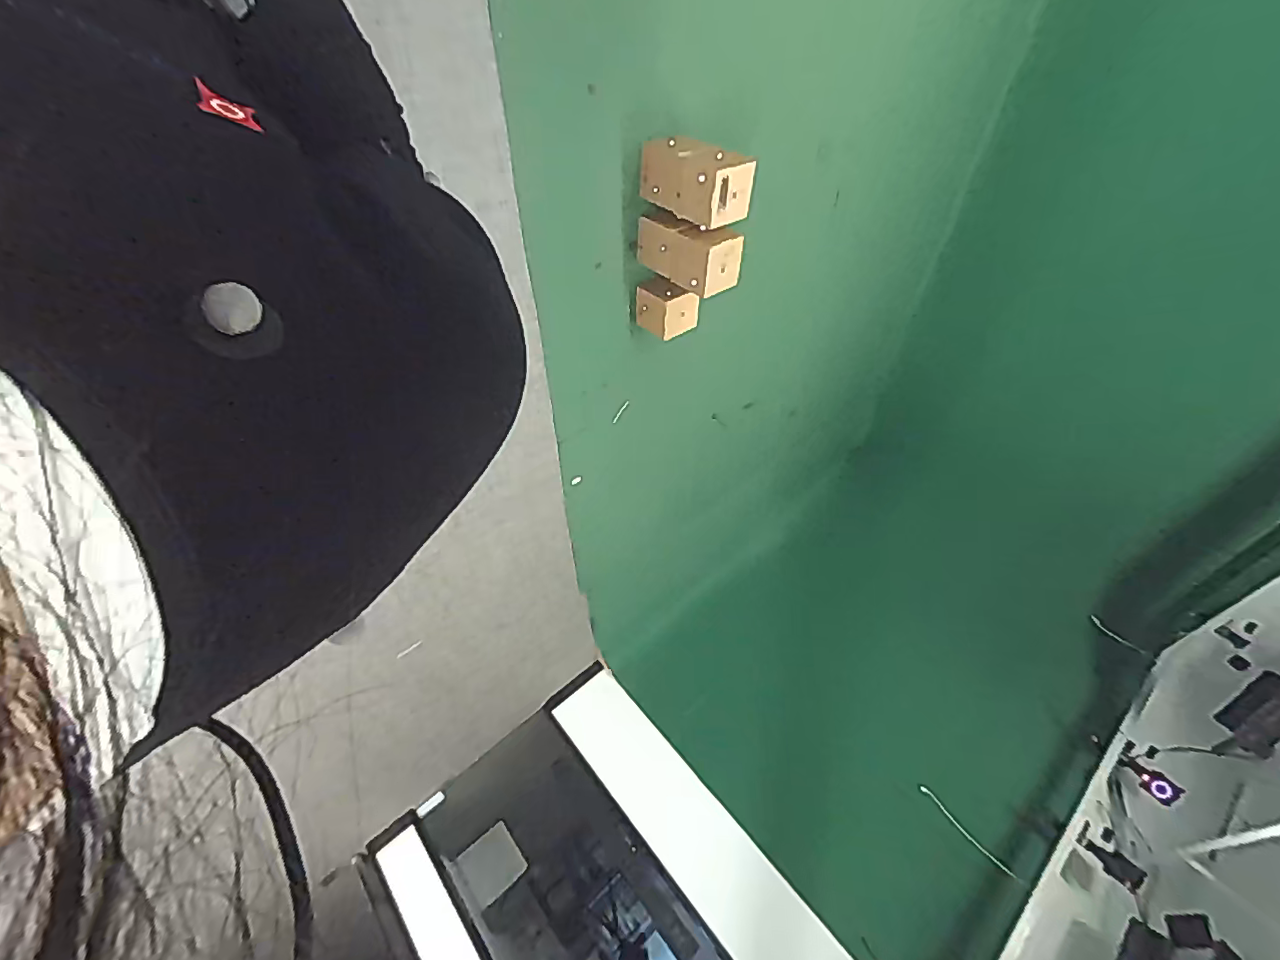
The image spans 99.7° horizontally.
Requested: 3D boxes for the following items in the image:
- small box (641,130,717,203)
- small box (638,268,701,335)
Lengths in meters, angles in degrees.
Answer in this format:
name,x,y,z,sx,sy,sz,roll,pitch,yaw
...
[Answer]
name,x,y,z,sx,sy,sz,roll,pitch,yaw
small box,0.121,-1.019,1.752,0.179,0.176,0.168,-29,144,-30
small box,0.110,-0.696,2.087,0.179,0.176,0.168,-32,145,-26
